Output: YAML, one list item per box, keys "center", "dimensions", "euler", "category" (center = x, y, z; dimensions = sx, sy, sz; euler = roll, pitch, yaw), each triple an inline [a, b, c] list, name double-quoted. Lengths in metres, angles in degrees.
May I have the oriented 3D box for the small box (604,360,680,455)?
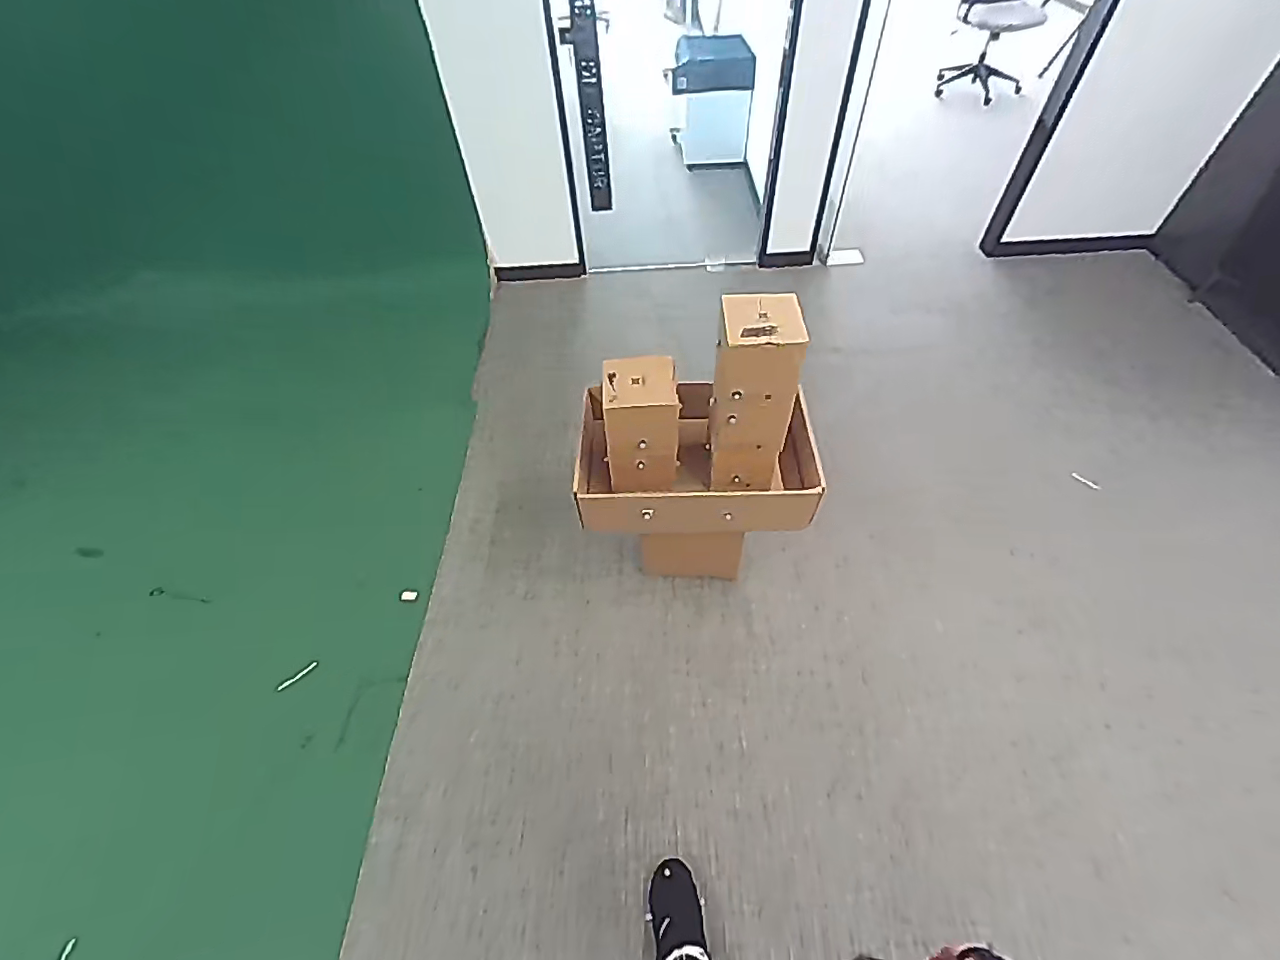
- center: [0.003, -0.175, 1.333]
  dimensions: [0.179, 0.176, 0.168]
  euler: [-2, 52, 0]
  category: "small box"

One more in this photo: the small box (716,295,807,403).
- center: [0.260, -0.285, 1.197]
  dimensions: [0.168, 0.176, 0.179]
  euler: [-1, 51, 2]
  category: "small box"

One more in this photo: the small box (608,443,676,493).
- center: [0.008, -0.075, 1.462]
  dimensions: [0.179, 0.176, 0.168]
  euler: [-1, 52, 0]
  category: "small box"
